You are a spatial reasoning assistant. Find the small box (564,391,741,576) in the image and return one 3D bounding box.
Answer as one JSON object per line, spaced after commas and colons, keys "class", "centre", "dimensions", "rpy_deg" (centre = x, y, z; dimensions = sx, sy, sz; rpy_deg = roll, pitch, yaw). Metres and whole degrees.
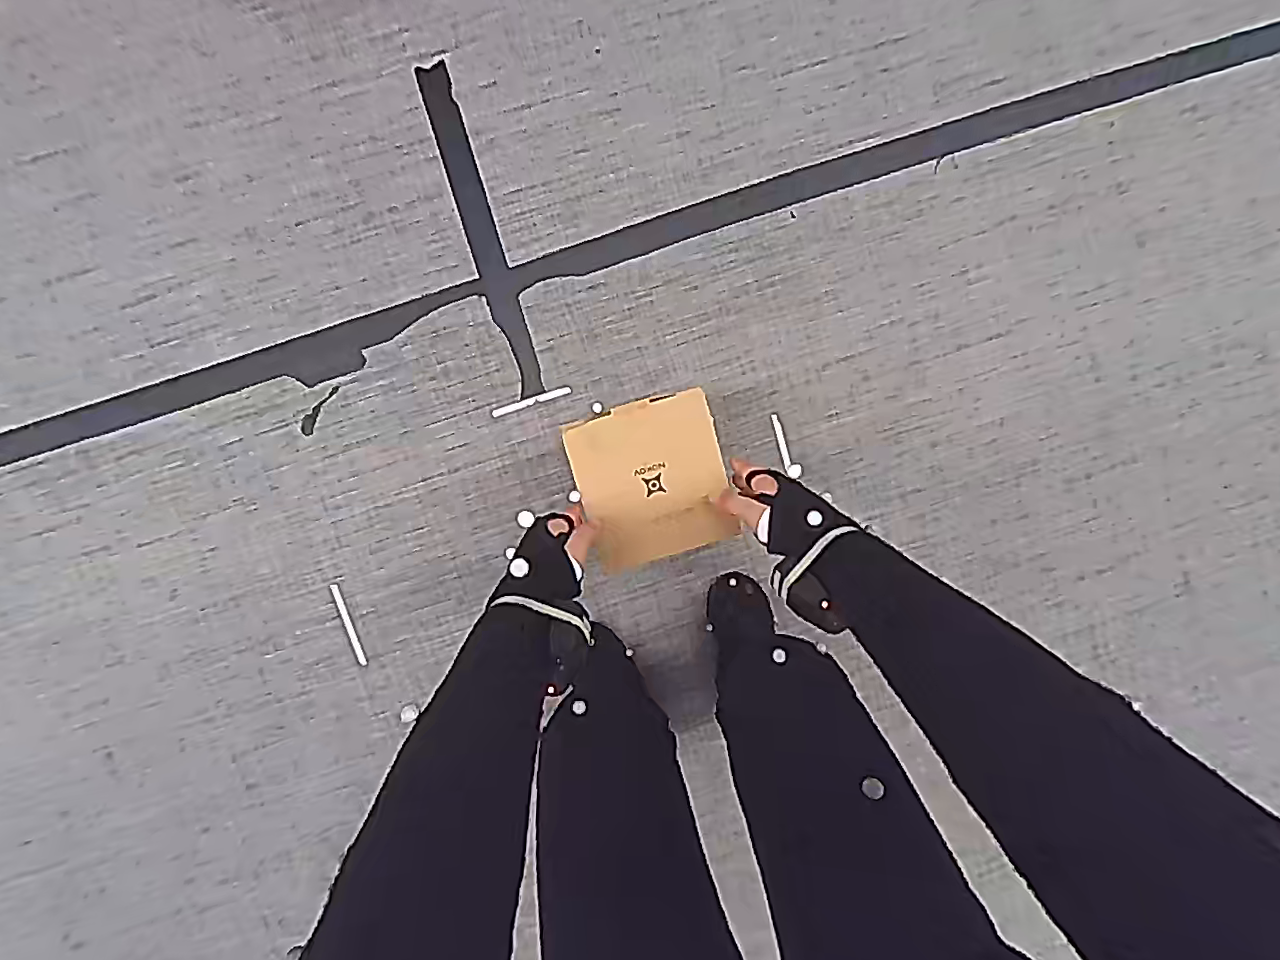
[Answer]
{"class": "small box", "centre": [0.010, -0.004, 0.683], "dimensions": [0.168, 0.176, 0.179], "rpy_deg": [-17, 99, -1]}
